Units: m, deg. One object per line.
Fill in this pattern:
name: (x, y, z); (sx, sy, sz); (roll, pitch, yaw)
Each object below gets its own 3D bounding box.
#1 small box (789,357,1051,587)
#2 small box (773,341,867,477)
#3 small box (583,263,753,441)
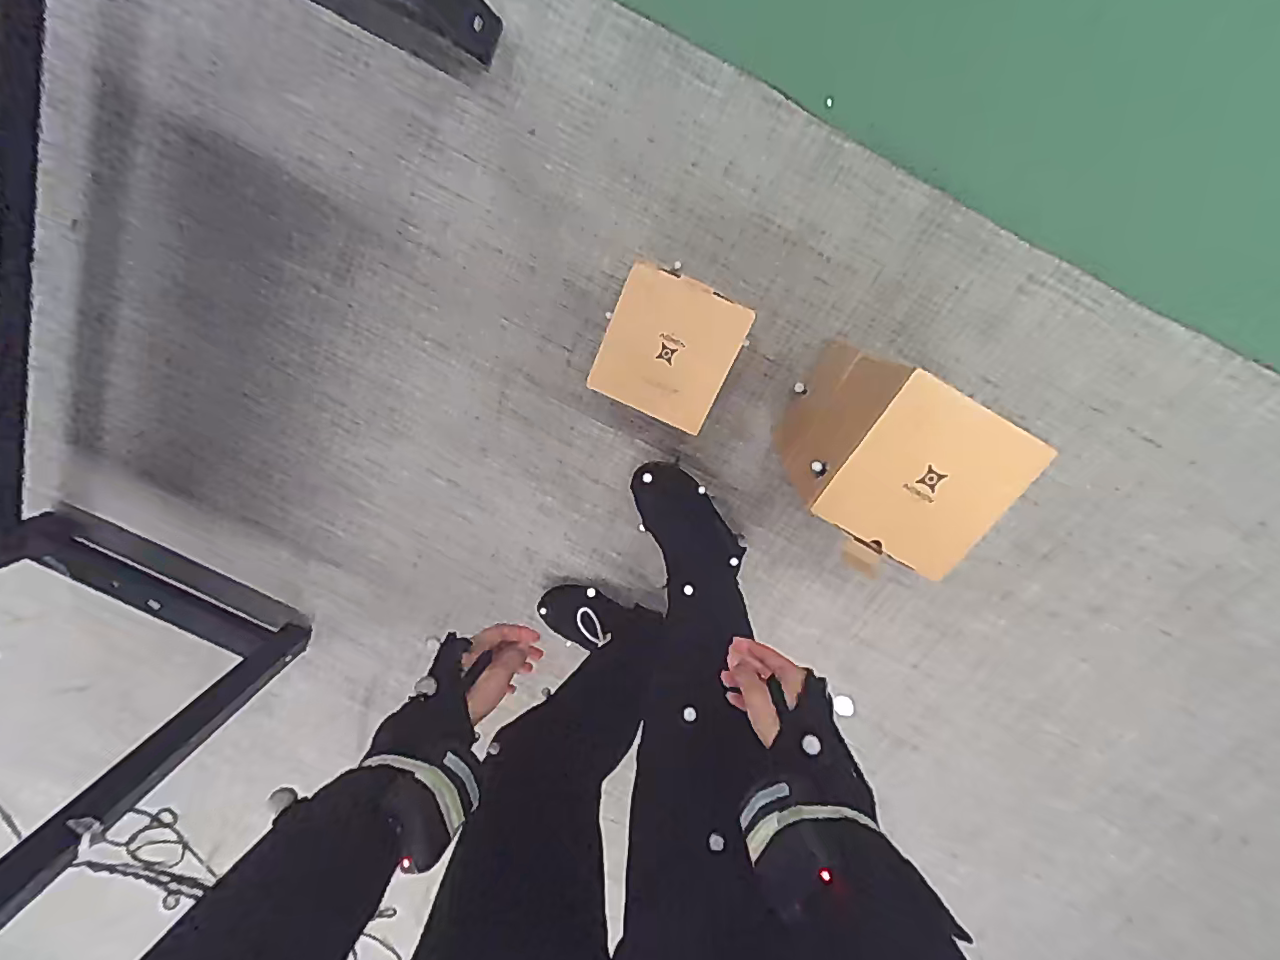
small box: (0.289, -0.021, 0.610); (0.168, 0.176, 0.179); (30, 110, -5)
small box: (0.304, -0.075, 0.764); (0.168, 0.176, 0.179); (28, 112, -5)
small box: (0.039, -0.184, 0.757); (0.168, 0.176, 0.179); (24, 111, -1)
